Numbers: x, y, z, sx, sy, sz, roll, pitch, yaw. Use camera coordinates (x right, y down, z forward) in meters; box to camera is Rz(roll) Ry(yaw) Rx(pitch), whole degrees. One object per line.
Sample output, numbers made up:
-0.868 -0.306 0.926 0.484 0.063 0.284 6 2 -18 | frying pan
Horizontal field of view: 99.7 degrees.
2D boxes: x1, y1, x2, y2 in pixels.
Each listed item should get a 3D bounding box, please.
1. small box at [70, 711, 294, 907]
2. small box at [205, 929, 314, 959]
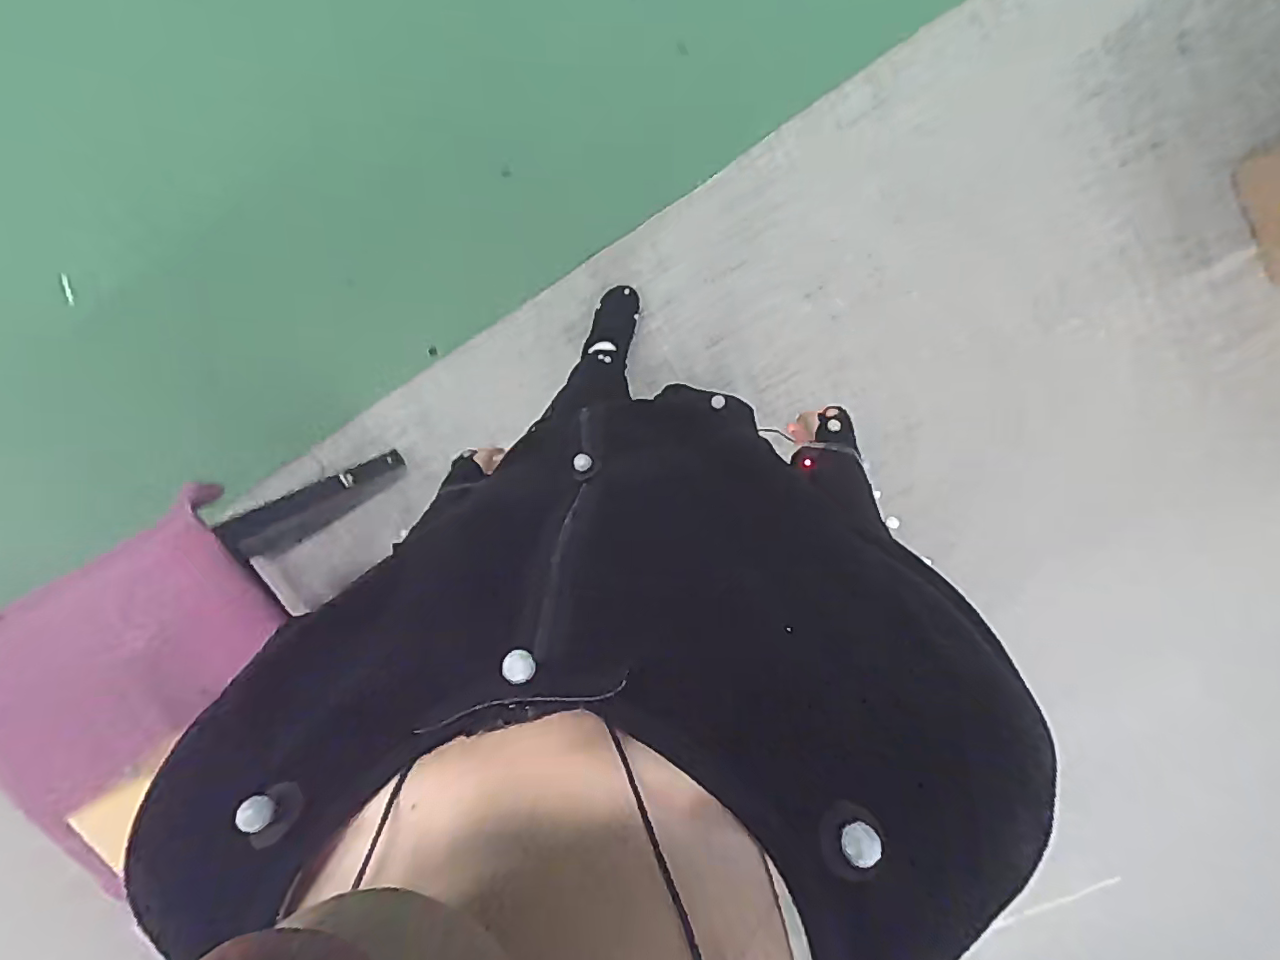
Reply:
-0.679 0.493 0.833 0.179 0.176 0.168 -29 101 11 | small box
-0.544 0.758 0.725 0.179 0.176 0.168 -29 101 11 | small box
